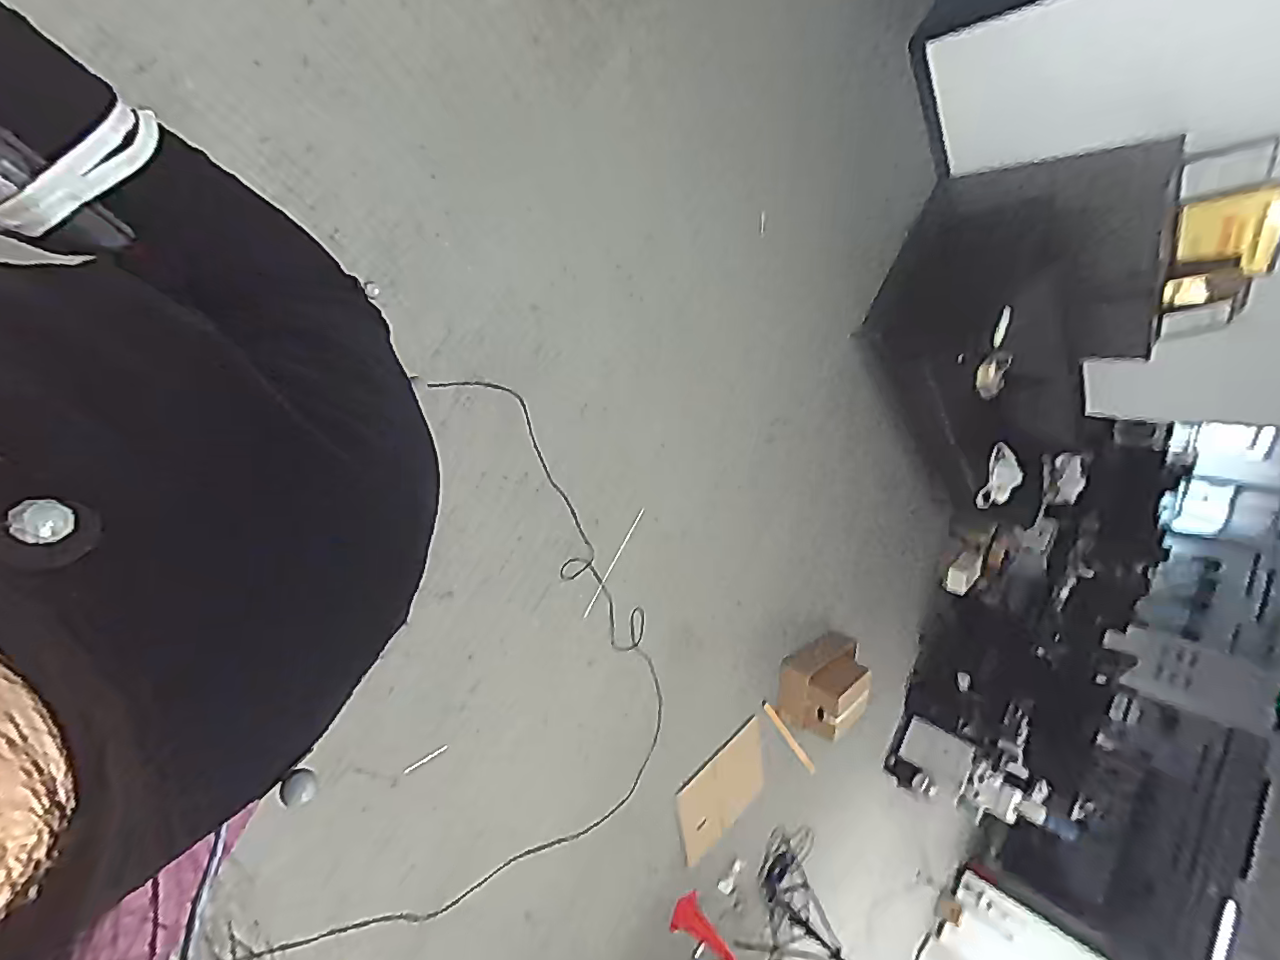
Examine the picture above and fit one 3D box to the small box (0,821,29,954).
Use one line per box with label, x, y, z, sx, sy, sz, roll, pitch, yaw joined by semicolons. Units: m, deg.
small box;-0.698;0.422;0.464;0.179;0.176;0.168;36;78;-43
